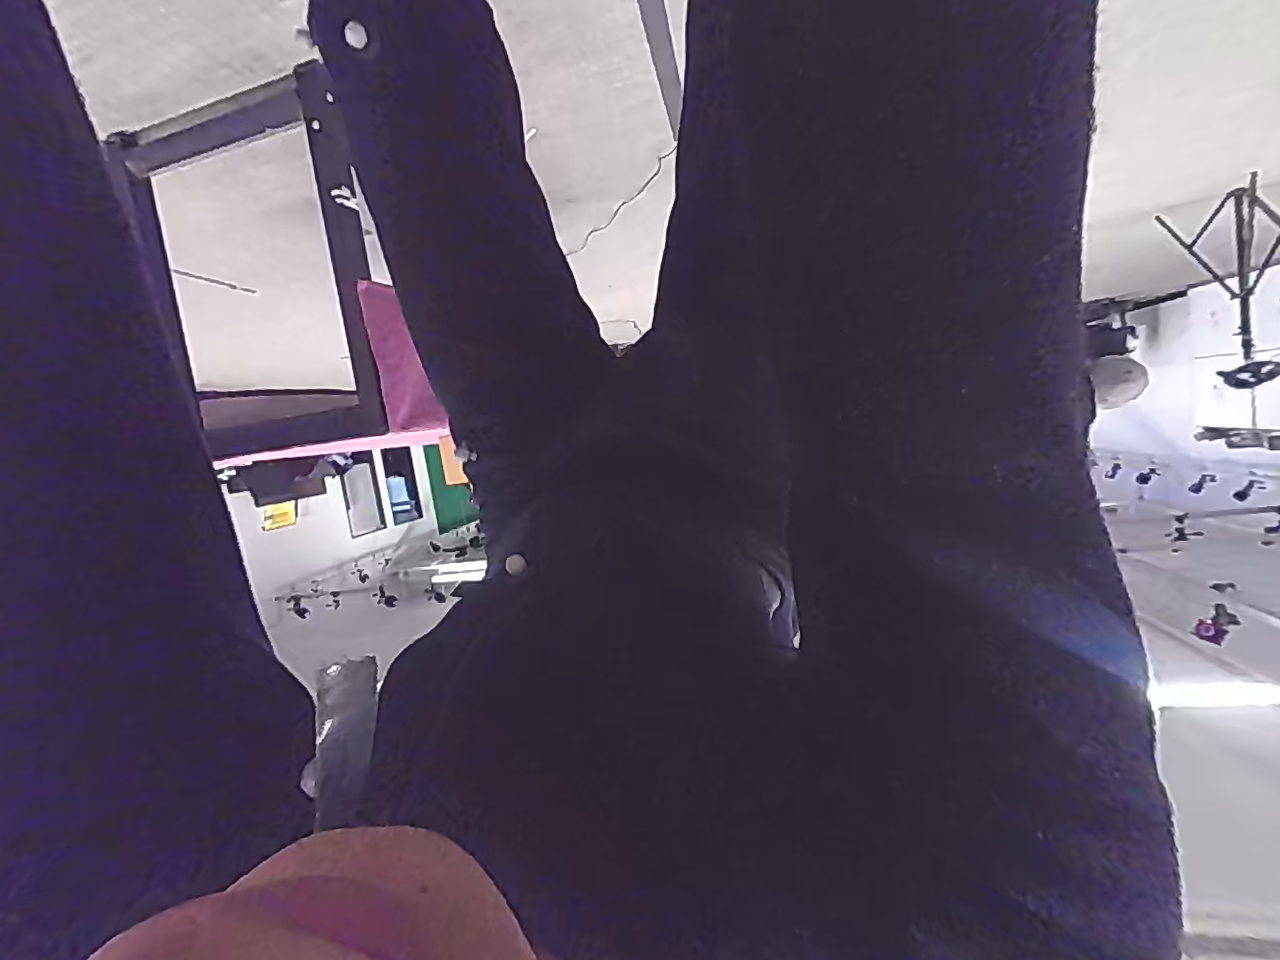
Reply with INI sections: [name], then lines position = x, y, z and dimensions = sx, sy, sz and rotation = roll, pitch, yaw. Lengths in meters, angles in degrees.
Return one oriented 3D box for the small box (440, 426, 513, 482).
[small box]
position = -0.573, -0.096, 1.894
dimensions = 0.179, 0.176, 0.168
rotation = -7, -175, 15
